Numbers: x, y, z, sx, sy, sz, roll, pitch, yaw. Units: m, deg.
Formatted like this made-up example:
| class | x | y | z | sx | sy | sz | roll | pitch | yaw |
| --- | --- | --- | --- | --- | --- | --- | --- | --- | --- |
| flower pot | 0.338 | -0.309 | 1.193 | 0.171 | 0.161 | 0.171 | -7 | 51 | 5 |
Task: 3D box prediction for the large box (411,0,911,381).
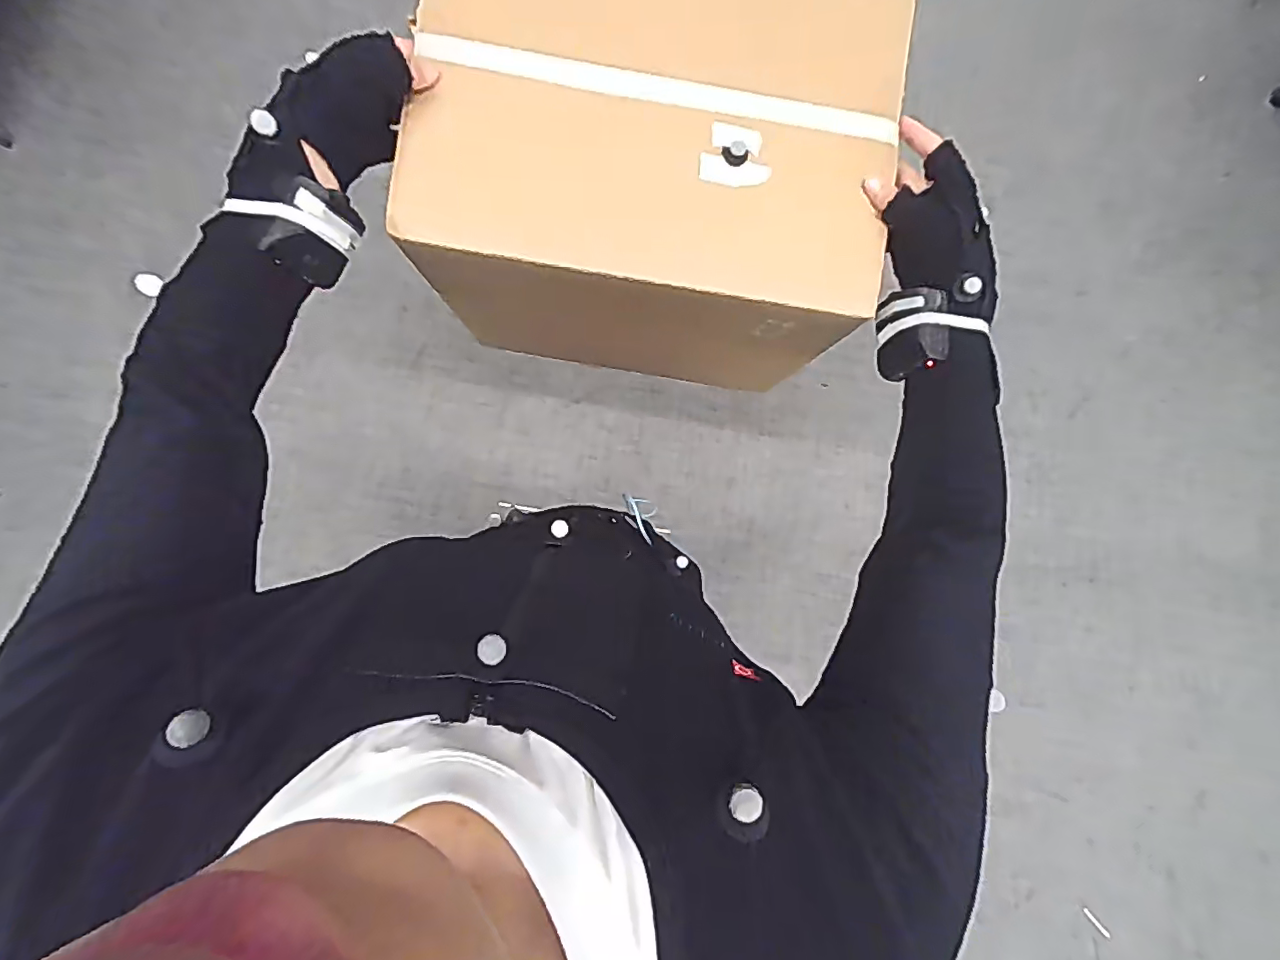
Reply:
| class | x | y | z | sx | sy | sz | roll | pitch | yaw |
| --- | --- | --- | --- | --- | --- | --- | --- | --- | --- |
| large box | 0.015 | -0.319 | 0.606 | 0.408 | 0.320 | 0.320 | 9 | 88 | -4 |
